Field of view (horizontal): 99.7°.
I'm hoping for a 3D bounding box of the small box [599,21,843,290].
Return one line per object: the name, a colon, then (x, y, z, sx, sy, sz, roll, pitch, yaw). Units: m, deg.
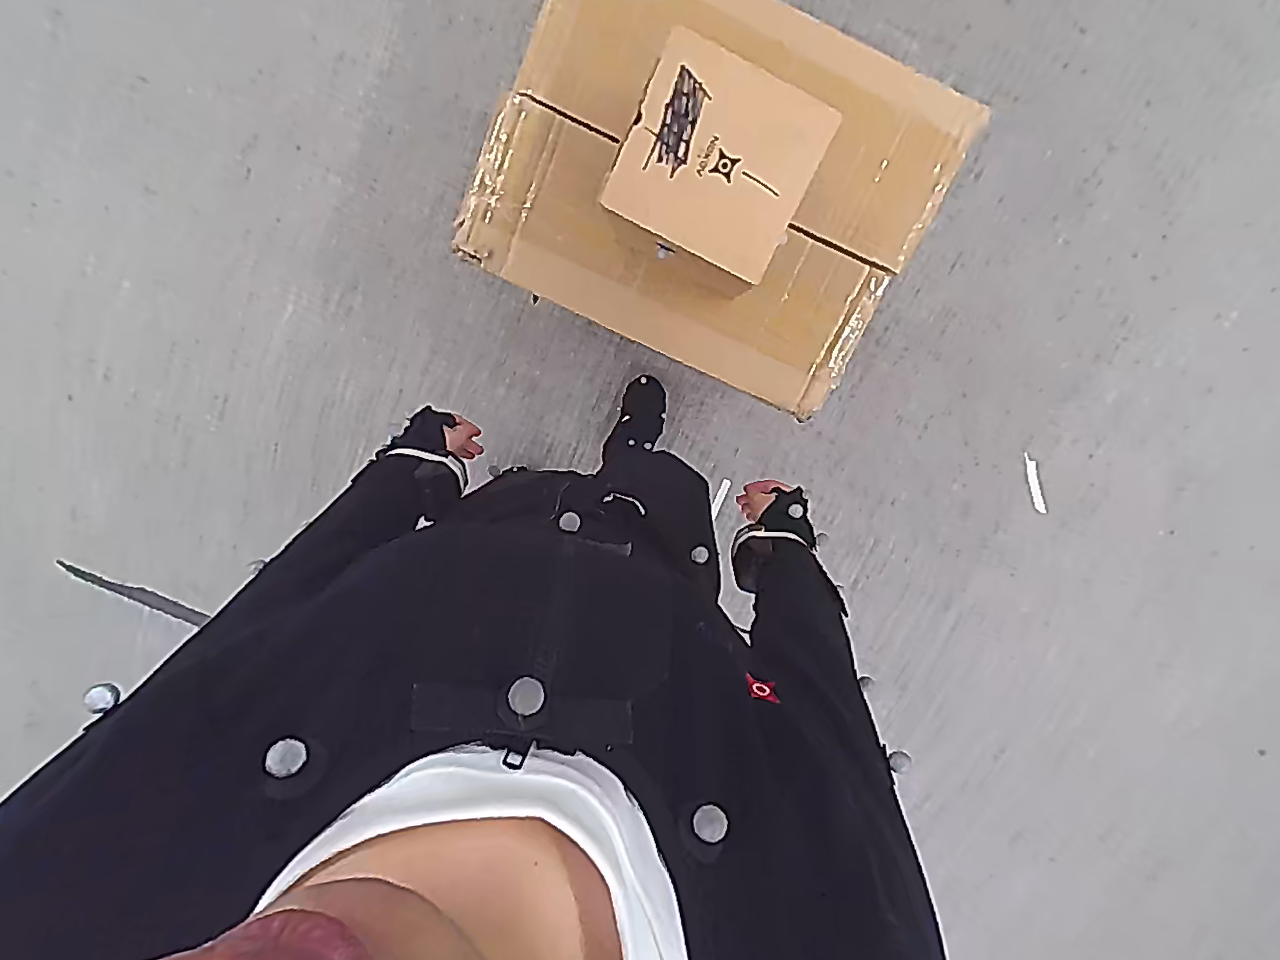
small box: (0.076, -0.319, 0.578, 0.179, 0.176, 0.168, 26, 104, -4)
